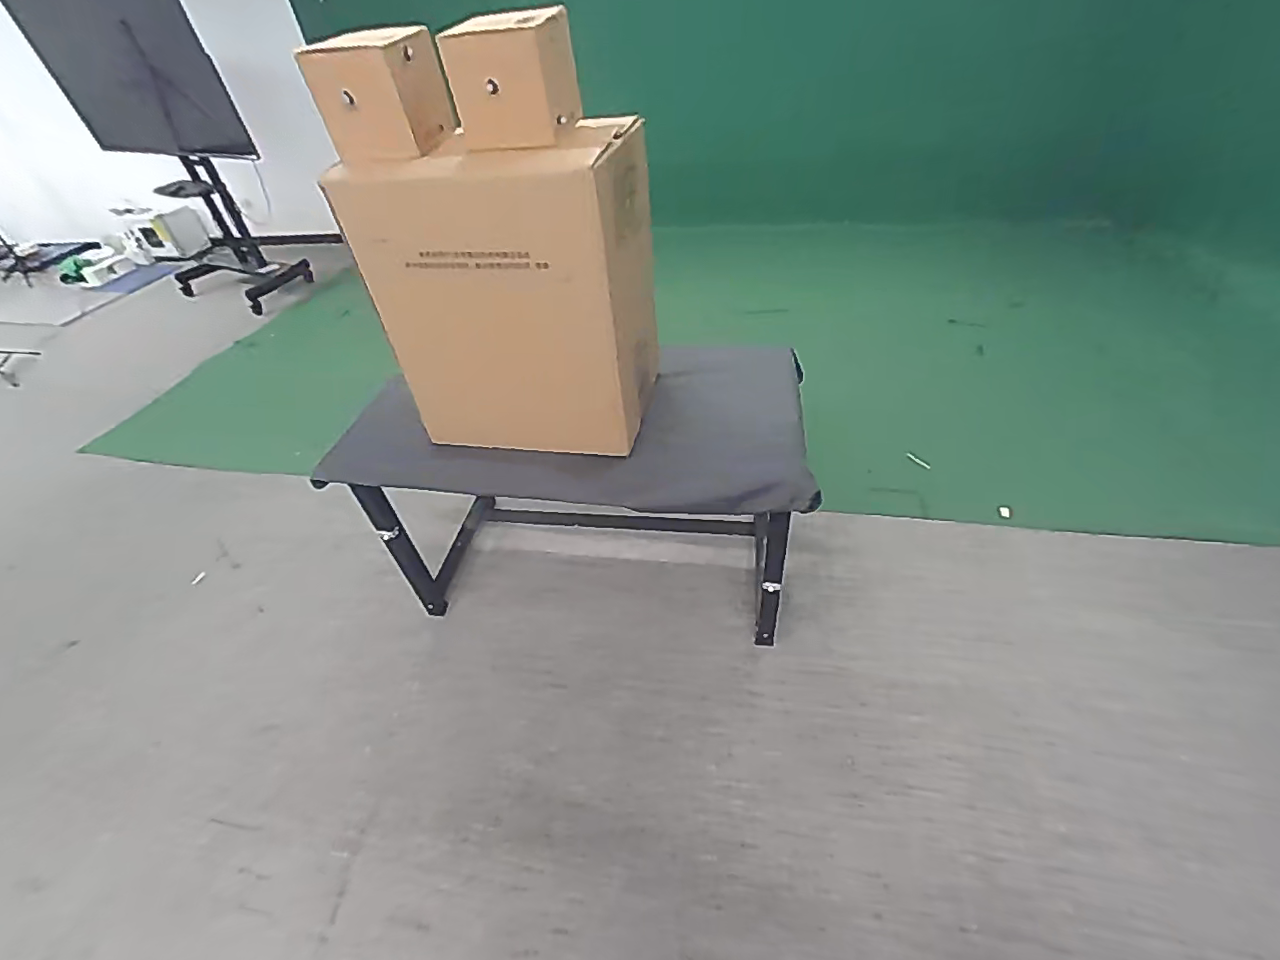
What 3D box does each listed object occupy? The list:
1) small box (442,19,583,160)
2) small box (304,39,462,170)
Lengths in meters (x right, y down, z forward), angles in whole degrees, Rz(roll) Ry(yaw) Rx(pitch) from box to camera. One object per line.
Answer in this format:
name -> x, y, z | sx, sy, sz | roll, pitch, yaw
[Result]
small box -> -0.215, -0.699, 0.975 | 0.179, 0.176, 0.168 | 5, 48, 14
small box -> -0.470, -0.701, 1.017 | 0.179, 0.176, 0.168 | 5, 48, 13
